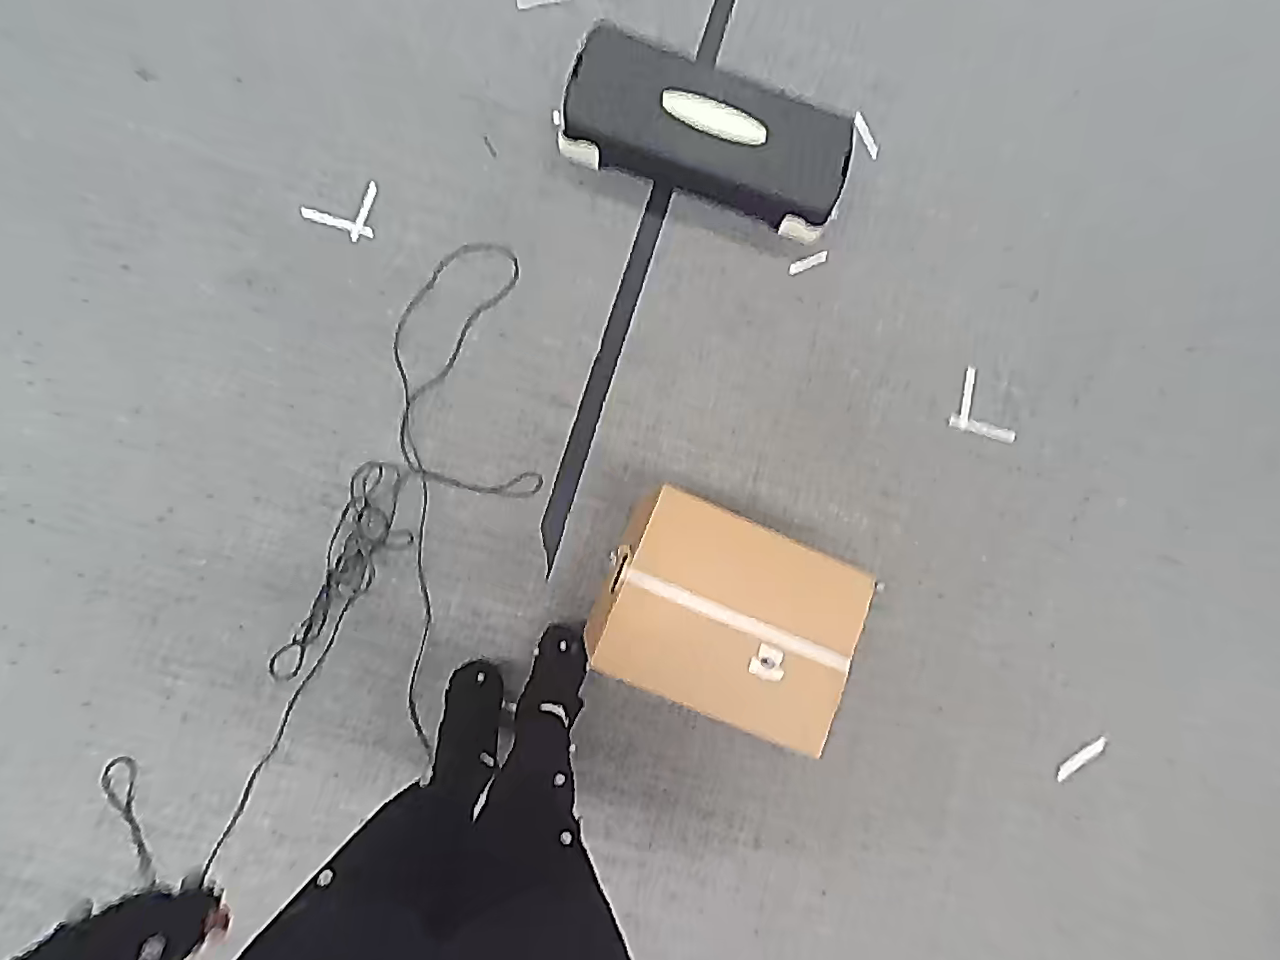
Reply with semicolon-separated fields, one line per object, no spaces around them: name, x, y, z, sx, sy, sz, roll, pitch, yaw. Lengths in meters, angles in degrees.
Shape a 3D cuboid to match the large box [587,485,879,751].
large box;0.146;0.239;1.015;0.408;0.320;0.320;24;80;-5
